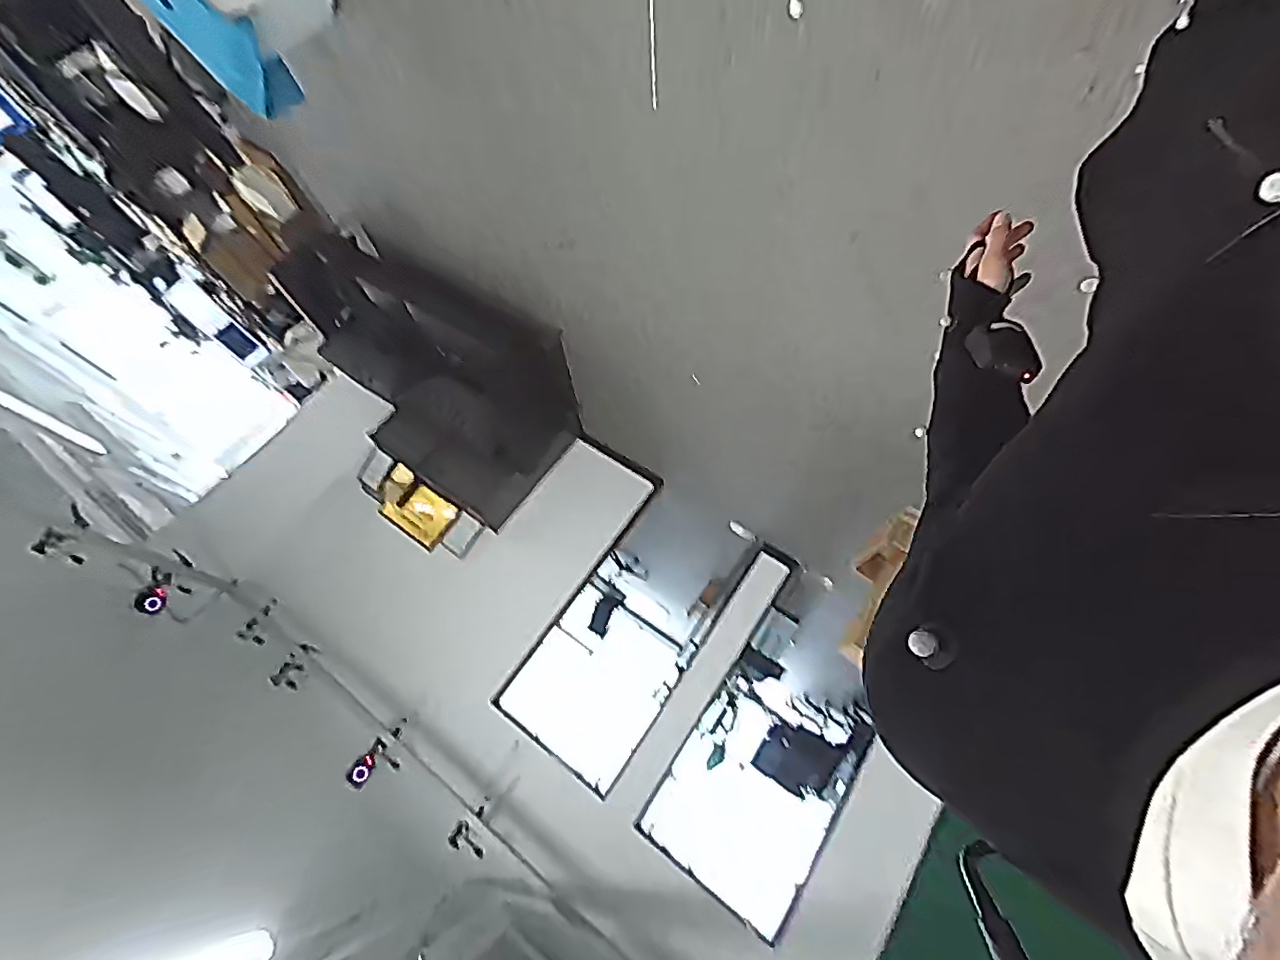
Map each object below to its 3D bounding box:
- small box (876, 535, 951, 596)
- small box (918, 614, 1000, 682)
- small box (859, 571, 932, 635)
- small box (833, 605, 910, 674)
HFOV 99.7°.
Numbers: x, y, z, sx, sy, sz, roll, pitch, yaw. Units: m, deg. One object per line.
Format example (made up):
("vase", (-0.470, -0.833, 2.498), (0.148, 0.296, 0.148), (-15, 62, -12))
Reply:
("small box", (1.035, 0.335, 2.042), (0.168, 0.176, 0.179), (34, 159, 12))
("small box", (1.151, 0.609, 1.948), (0.168, 0.176, 0.179), (33, 160, 13))
("small box", (0.938, 0.456, 1.988), (0.168, 0.176, 0.179), (35, 160, 11))
("small box", (0.833, 0.573, 1.941), (0.168, 0.176, 0.179), (34, 160, 11))
